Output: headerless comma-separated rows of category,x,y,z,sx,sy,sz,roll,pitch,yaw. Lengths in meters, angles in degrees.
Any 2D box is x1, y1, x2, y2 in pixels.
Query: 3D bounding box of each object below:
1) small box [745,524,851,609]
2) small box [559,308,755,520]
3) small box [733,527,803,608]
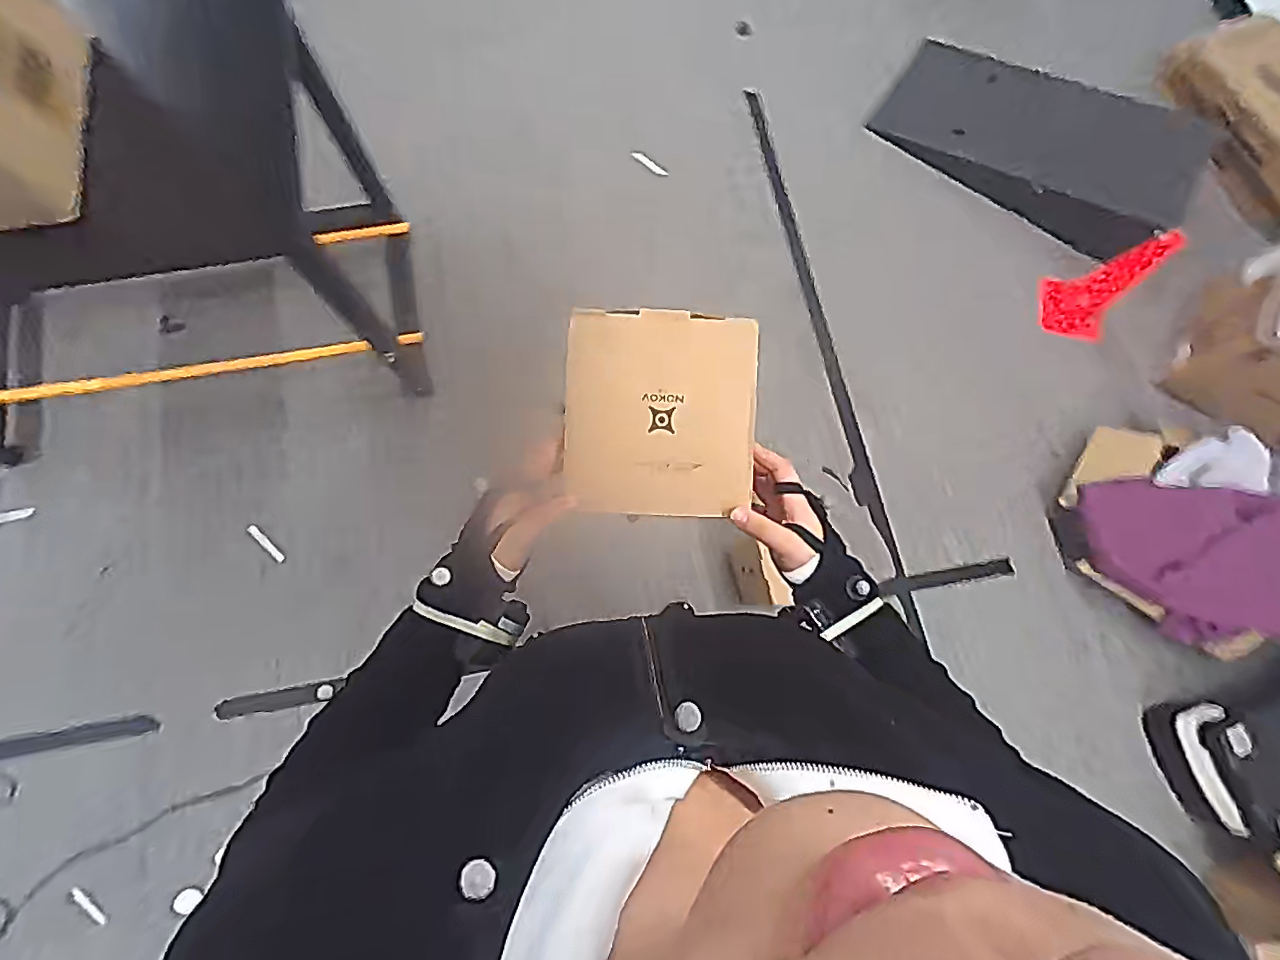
small box,0.368,0.207,1.286,0.179,0.176,0.168,-10,77,-4
small box,0.008,-0.055,0.534,0.168,0.176,0.179,1,91,-5
small box,0.359,0.240,1.447,0.168,0.176,0.179,-14,78,-5
